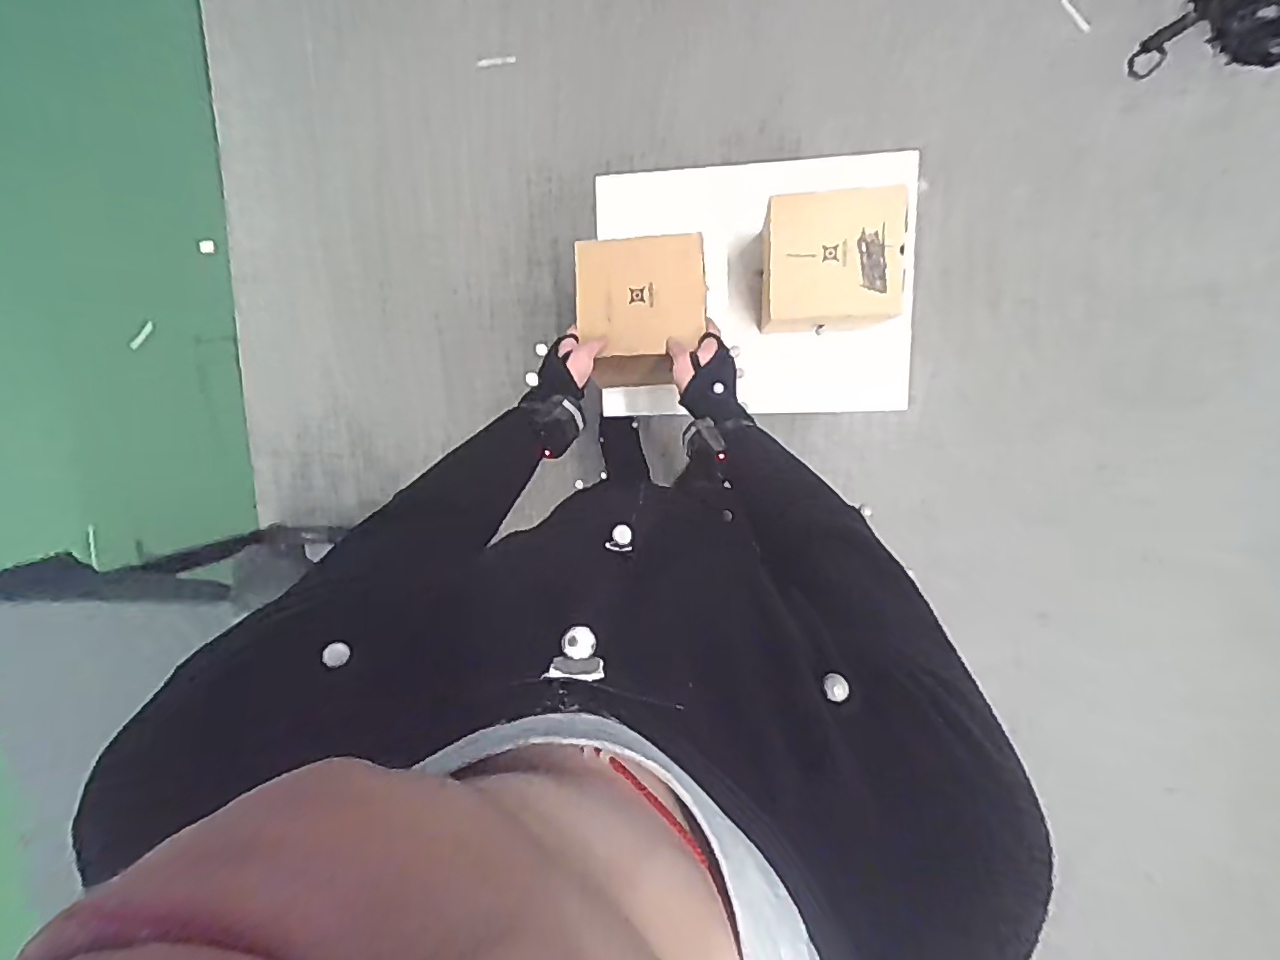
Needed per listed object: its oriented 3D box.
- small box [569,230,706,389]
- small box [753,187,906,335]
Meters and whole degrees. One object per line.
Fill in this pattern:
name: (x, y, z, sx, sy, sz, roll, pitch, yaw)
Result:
small box: (0.001, -0.234, 0.779, 0.179, 0.176, 0.168, -3, 85, 5)
small box: (0.263, -0.306, 0.787, 0.179, 0.176, 0.168, 0, 98, 7)
